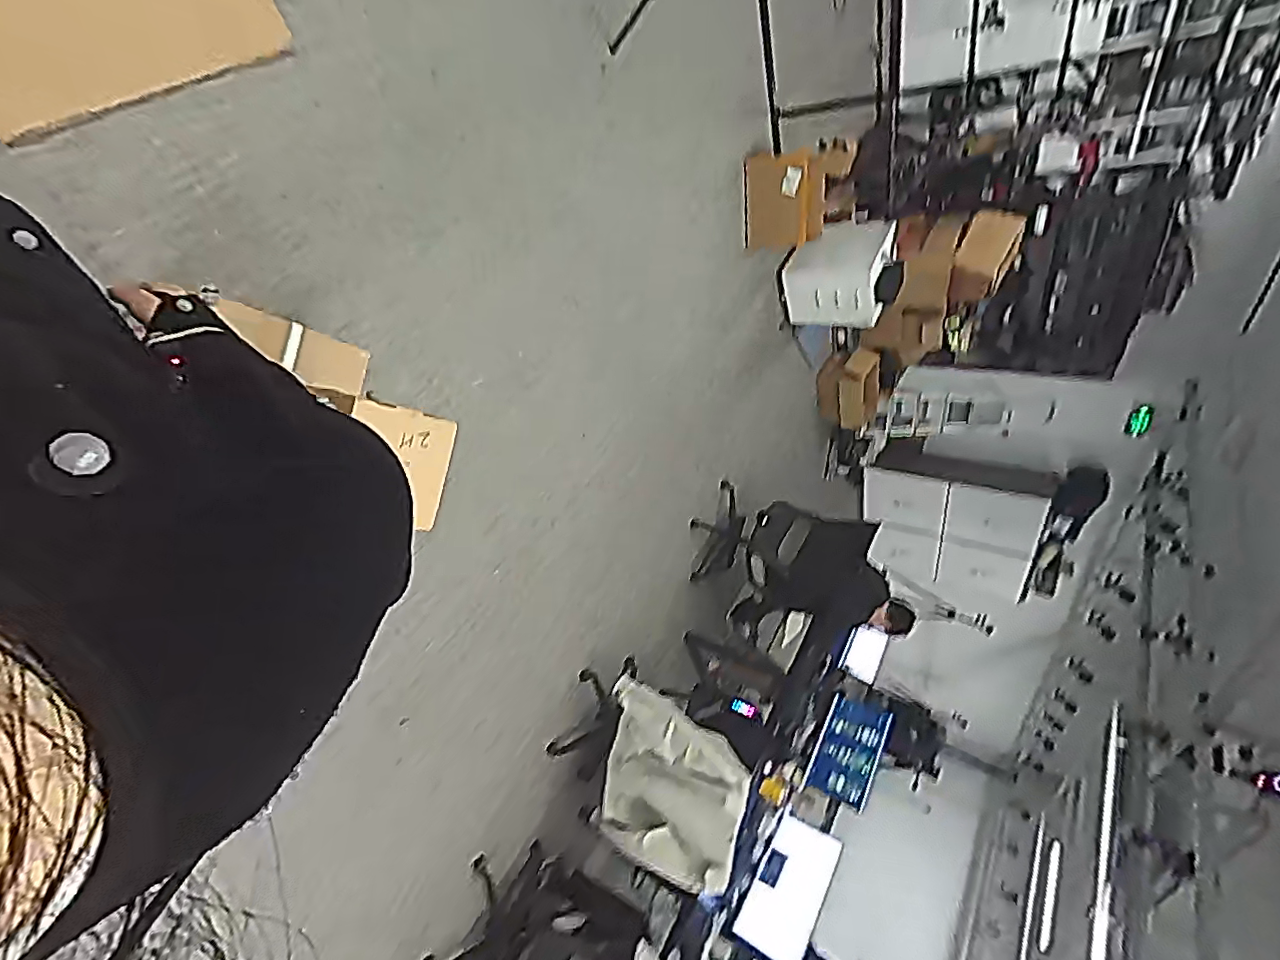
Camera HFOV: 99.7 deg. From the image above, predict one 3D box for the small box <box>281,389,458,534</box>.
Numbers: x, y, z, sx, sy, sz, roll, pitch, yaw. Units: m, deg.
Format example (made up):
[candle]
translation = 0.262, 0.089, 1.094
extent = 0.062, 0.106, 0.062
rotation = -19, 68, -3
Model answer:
[small box]
translation = -0.413, -0.027, 0.824
extent = 0.168, 0.176, 0.179
rotation = 14, 91, -56
